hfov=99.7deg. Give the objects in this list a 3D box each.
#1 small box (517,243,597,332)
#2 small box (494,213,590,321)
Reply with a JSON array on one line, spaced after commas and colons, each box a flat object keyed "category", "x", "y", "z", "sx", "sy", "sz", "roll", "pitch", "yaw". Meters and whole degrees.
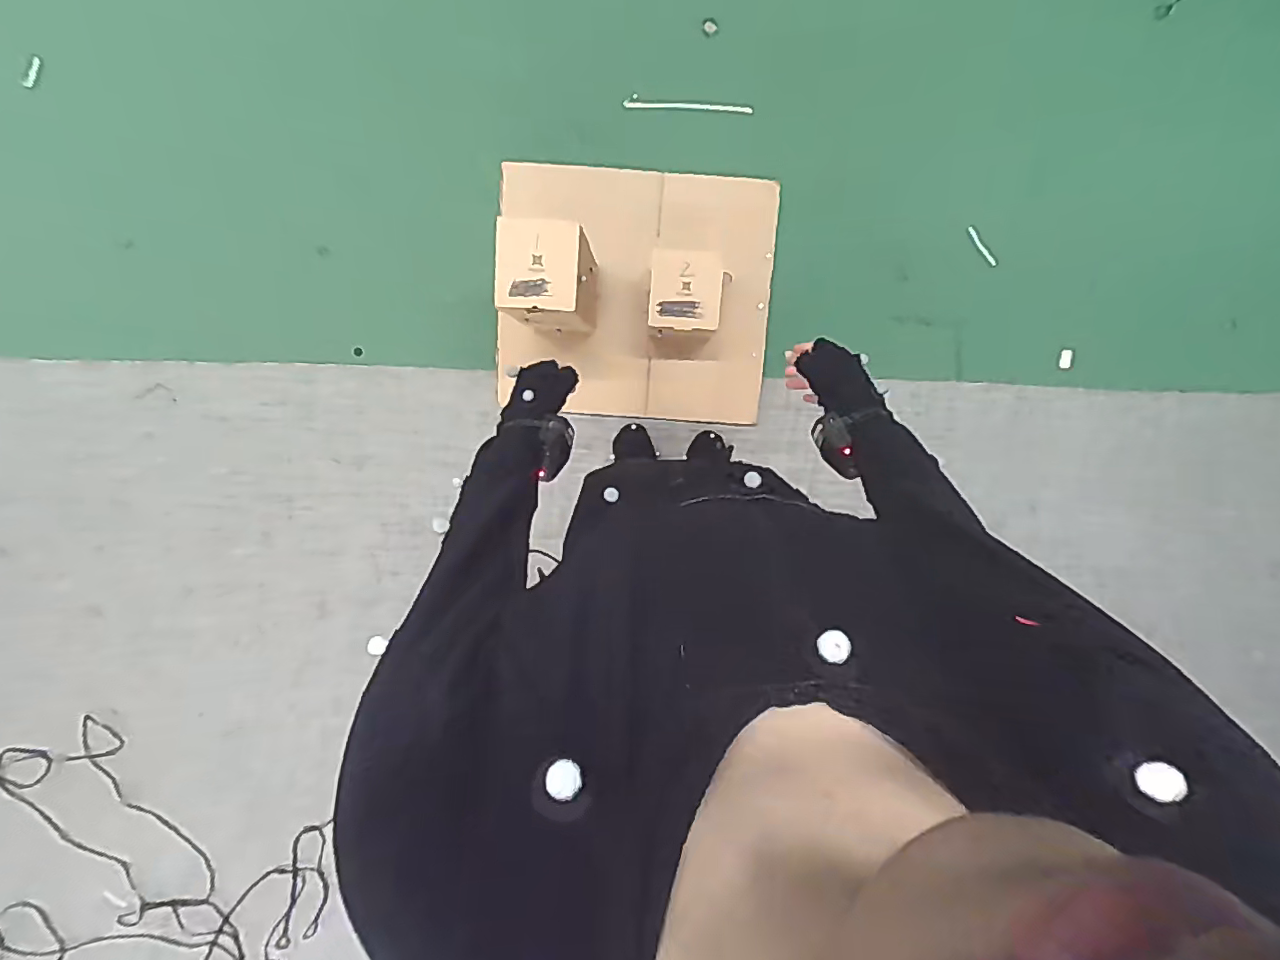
[{"category": "small box", "x": -0.195, "y": -0.462, "z": 1.301, "sx": 0.168, "sy": 0.176, "sz": 0.179, "roll": 3, "pitch": 99, "yaw": 1}, {"category": "small box", "x": -0.199, "y": -0.438, "z": 1.139, "sx": 0.168, "sy": 0.176, "sz": 0.179, "roll": 5, "pitch": 98, "yaw": 1}]
